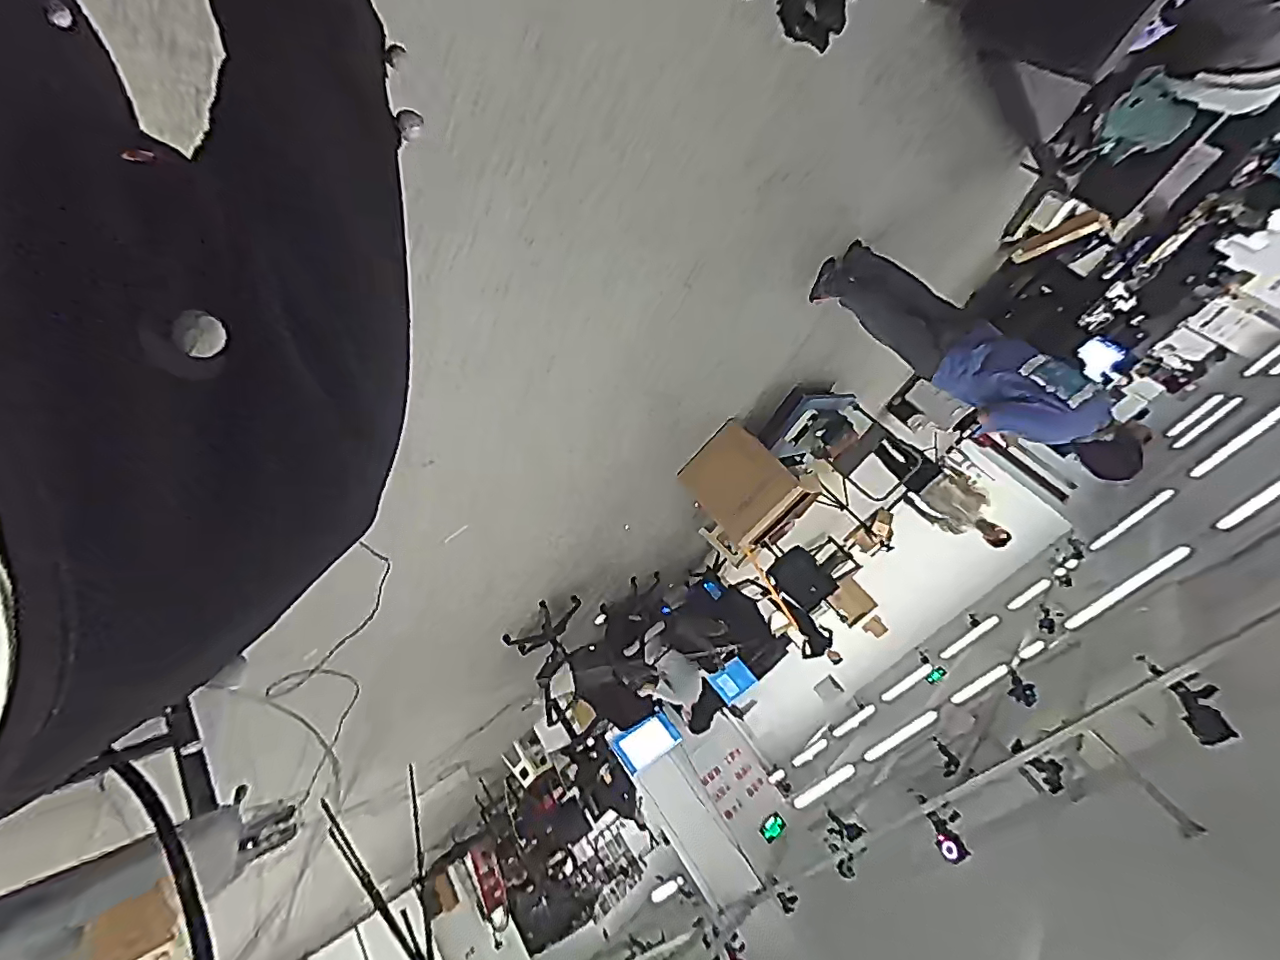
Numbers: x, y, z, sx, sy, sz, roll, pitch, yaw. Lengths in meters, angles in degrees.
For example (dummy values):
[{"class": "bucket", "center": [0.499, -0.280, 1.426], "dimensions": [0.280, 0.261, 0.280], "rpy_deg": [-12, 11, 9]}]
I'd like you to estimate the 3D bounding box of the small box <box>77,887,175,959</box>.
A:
[{"class": "small box", "center": [-1.479, 1.329, 1.560], "dimensions": [0.179, 0.176, 0.168], "rpy_deg": [-13, 143, -44]}]
